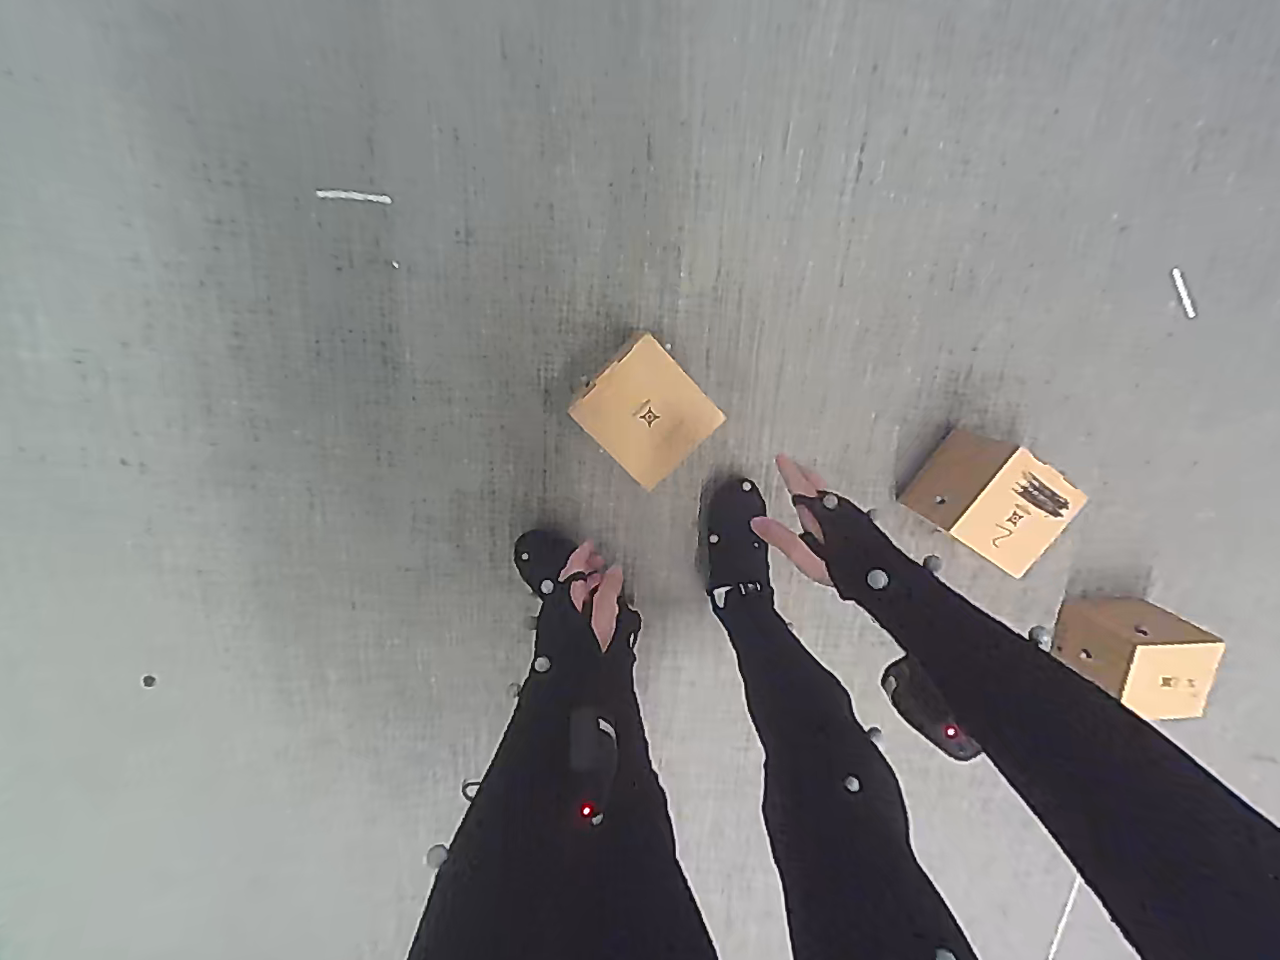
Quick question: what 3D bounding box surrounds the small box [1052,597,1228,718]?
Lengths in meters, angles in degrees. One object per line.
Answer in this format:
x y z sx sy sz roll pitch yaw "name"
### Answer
0.968 0.343 1.067 0.179 0.176 0.168 -1 107 -4 "small box"
